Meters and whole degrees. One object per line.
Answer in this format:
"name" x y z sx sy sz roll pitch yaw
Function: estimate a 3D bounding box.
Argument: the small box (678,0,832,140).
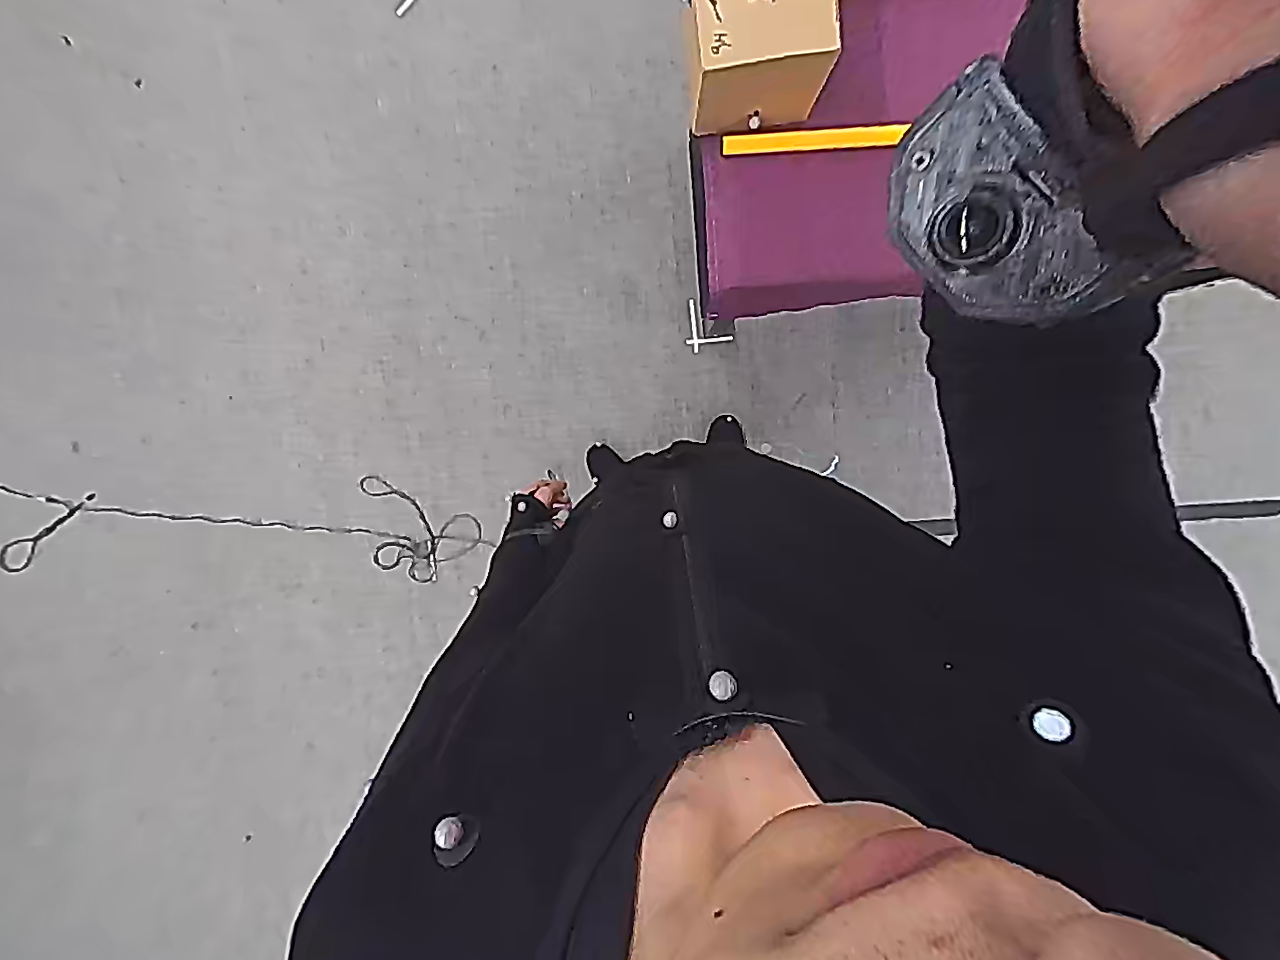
"small box" 0.152 -0.609 0.758 0.179 0.176 0.168 -6 97 2
